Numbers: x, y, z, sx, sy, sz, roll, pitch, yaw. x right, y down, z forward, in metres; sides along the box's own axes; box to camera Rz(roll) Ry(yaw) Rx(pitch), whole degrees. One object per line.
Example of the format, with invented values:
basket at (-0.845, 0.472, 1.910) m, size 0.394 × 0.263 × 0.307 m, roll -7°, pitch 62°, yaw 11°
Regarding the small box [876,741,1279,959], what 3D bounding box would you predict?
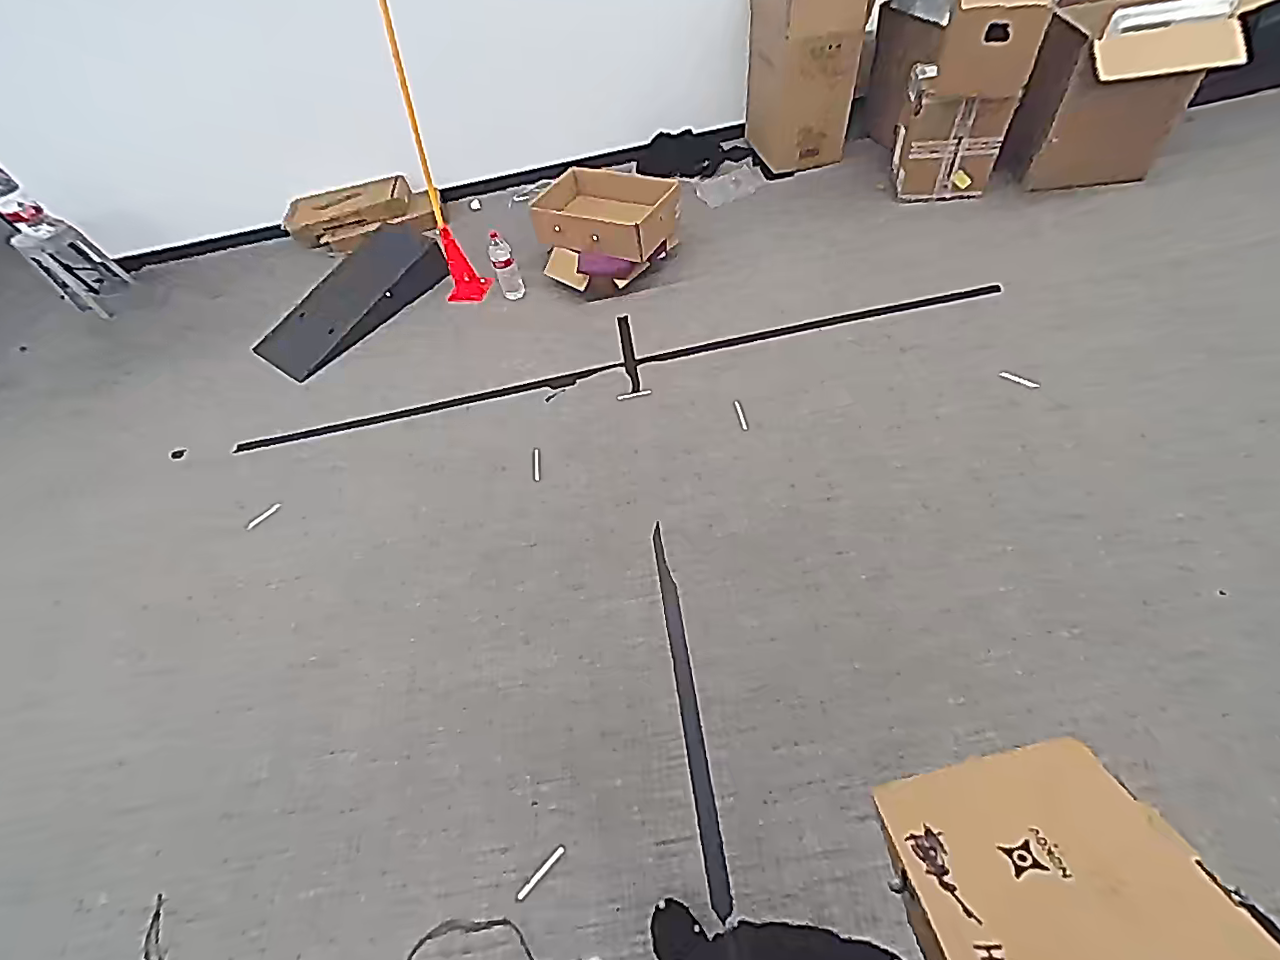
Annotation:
small box at (0.312, 0.345, 0.416) m, size 0.179 × 0.176 × 0.168 m, roll -18°, pitch 17°, yaw 7°
